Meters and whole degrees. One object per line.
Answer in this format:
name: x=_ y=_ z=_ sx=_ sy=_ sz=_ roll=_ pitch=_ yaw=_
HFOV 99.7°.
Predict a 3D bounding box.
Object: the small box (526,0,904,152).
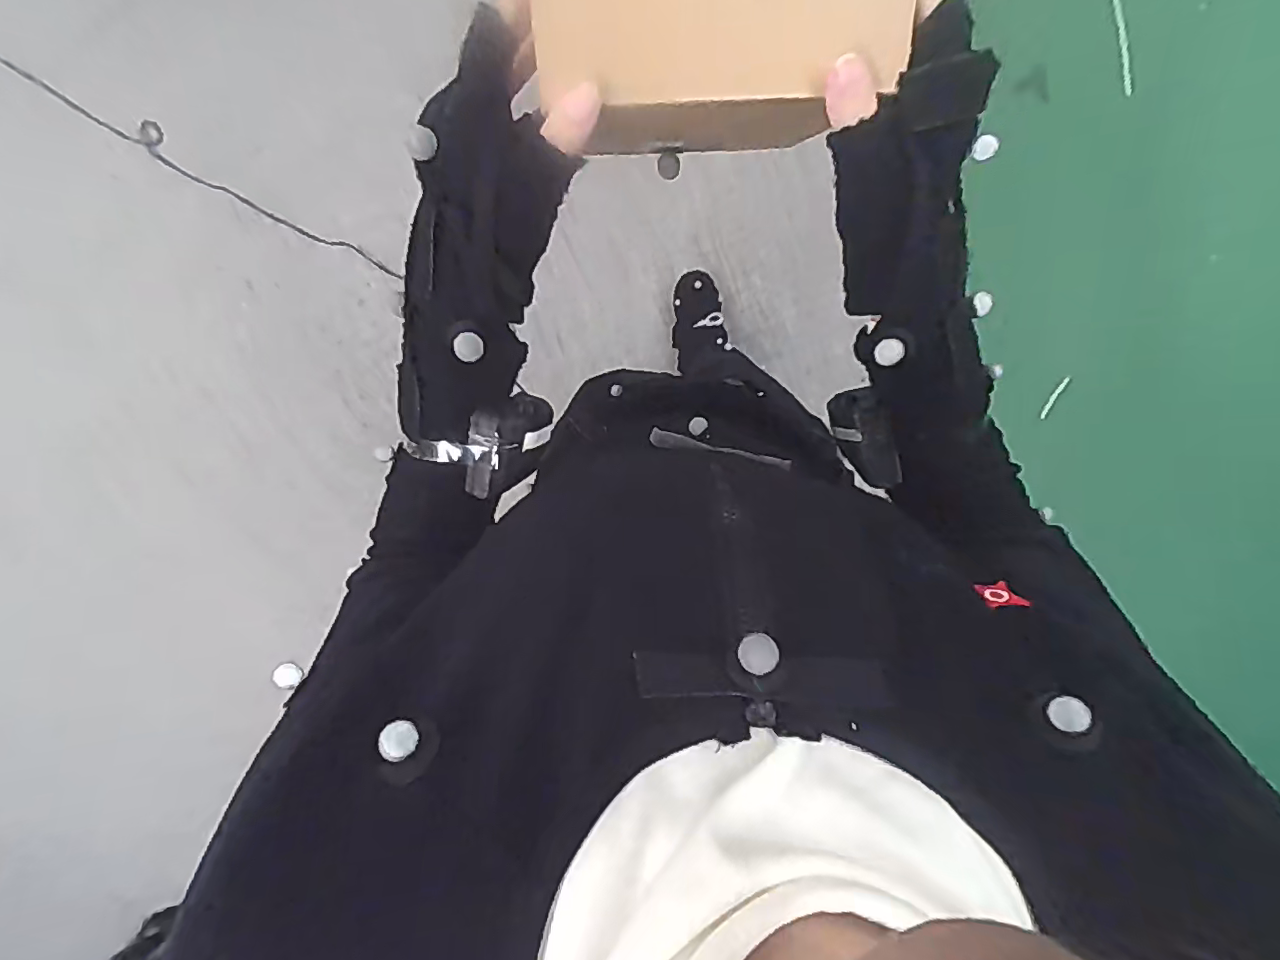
small box: x=0.026 y=-0.287 z=0.281 sx=0.168 sy=0.176 sz=0.179 roll=-4 pitch=114 yaw=-2
